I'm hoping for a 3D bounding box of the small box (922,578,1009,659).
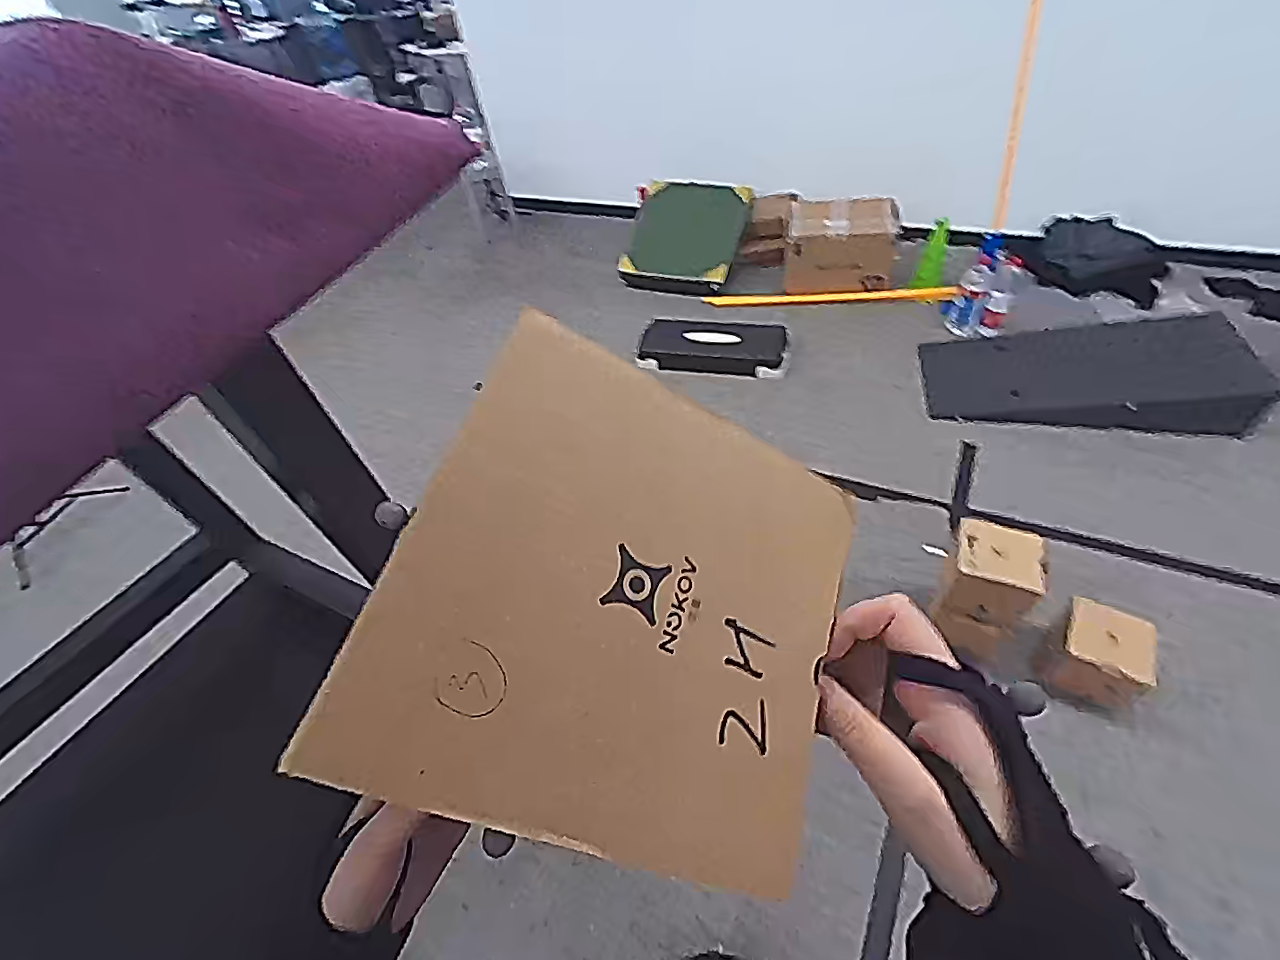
[{"bbox_3d":[0.879,0.351,1.455,0.168,0.176,0.179,19,52,24],"label":"small box"}]

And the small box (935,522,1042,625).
[{"bbox_3d":[0.857,0.236,1.338,0.179,0.176,0.168,15,51,20],"label":"small box"}]

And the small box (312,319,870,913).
[{"bbox_3d":[-0.024,0.065,0.267,0.179,0.176,0.168,30,64,-17],"label":"small box"}]

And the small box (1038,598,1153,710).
[{"bbox_3d":[1.123,0.435,1.342,0.168,0.176,0.179,22,54,25],"label":"small box"}]
